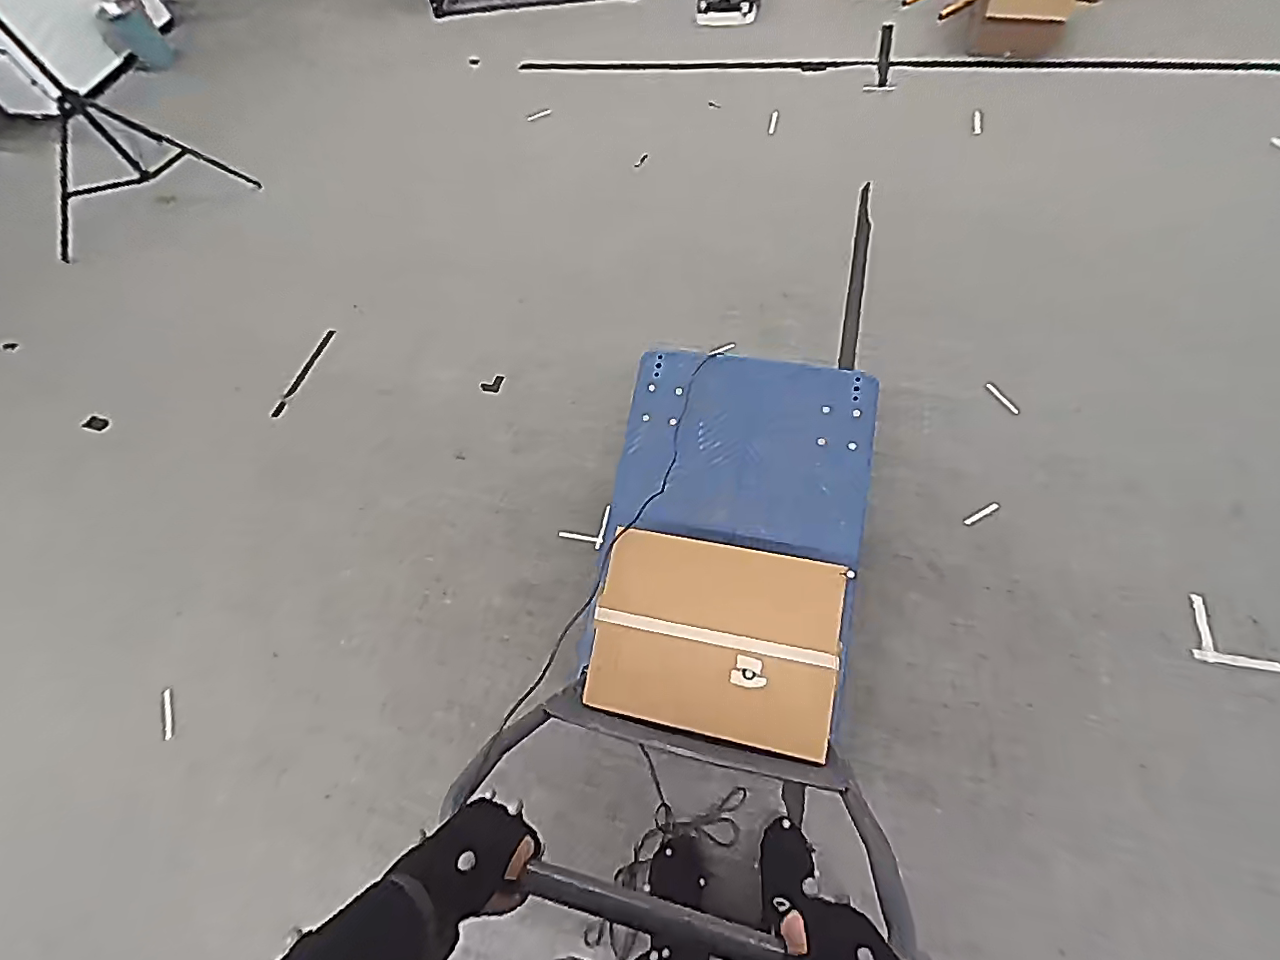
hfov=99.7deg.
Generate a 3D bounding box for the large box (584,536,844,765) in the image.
[{"bbox_3d":[0.141,0.307,1.046,0.408,0.320,0.320,9,79,11],"label":"large box"}]
